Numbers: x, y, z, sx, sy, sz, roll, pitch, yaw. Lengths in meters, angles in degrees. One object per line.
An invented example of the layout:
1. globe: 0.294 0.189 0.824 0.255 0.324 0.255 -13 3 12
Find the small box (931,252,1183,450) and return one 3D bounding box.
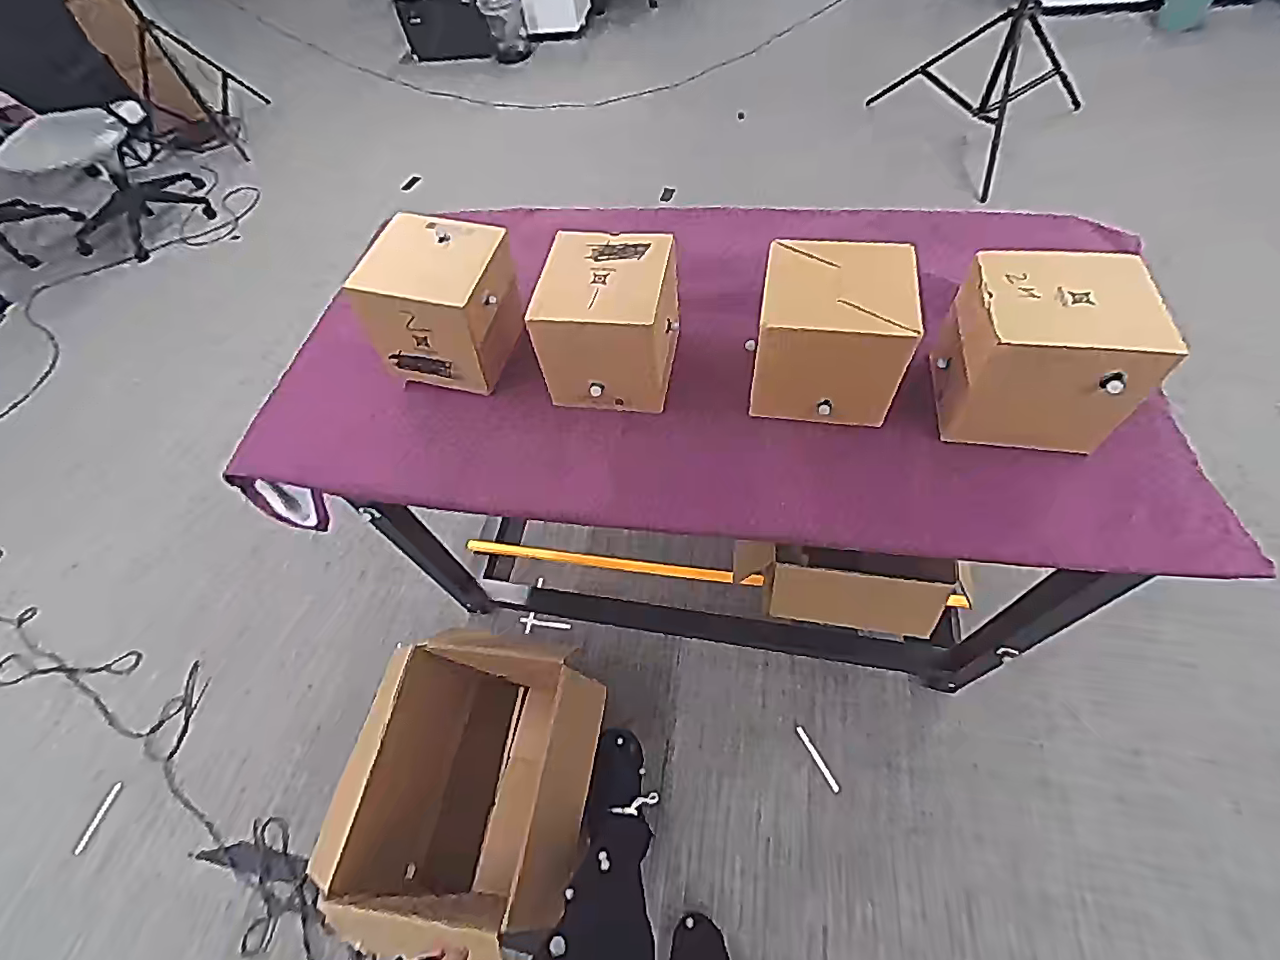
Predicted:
1. small box: 0.486 -0.153 0.666 0.179 0.176 0.168 7 56 11

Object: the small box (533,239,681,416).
1. small box: -0.034 -0.217 0.773 0.168 0.176 0.179 6 59 10

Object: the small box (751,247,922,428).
1. small box: 0.249 -0.191 0.718 0.179 0.176 0.168 7 57 12
